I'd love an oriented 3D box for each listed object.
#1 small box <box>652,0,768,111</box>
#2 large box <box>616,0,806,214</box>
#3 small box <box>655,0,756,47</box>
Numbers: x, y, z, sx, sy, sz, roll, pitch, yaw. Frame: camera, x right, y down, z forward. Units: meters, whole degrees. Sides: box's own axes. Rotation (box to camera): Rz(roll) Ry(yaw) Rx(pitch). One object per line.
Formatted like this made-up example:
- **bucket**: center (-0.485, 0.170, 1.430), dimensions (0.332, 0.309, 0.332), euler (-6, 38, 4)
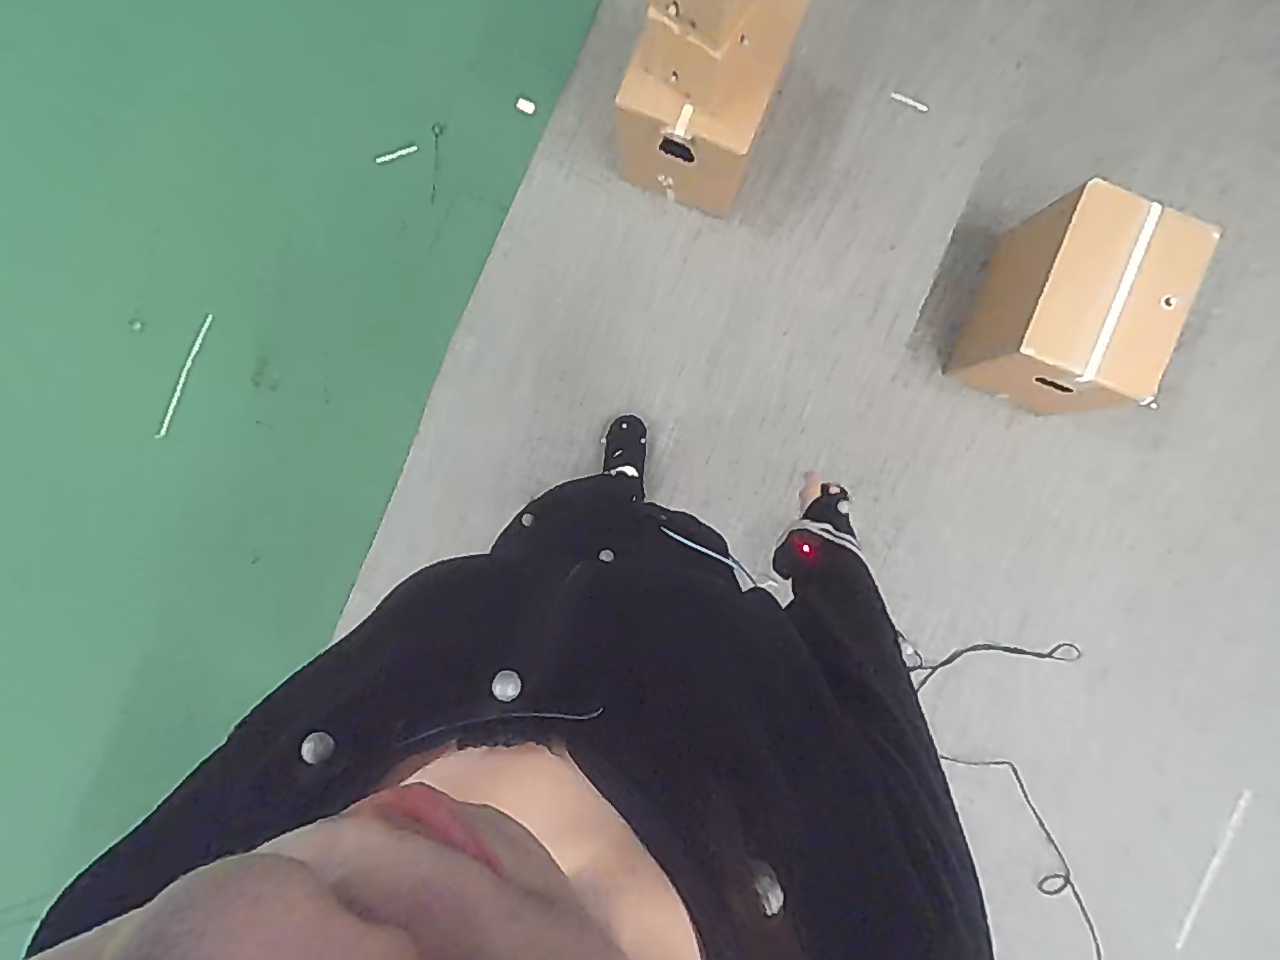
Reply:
- **small box**: center (0.133, -0.896, 1.072), dimensions (0.168, 0.176, 0.179), euler (33, 92, 0)
- **large box**: center (0.161, -0.948, 1.313), dimensions (0.320, 0.320, 0.408), euler (22, 91, 0)
- **small box**: center (0.130, -0.902, 0.909), dimensions (0.168, 0.176, 0.179), euler (36, 93, 1)
